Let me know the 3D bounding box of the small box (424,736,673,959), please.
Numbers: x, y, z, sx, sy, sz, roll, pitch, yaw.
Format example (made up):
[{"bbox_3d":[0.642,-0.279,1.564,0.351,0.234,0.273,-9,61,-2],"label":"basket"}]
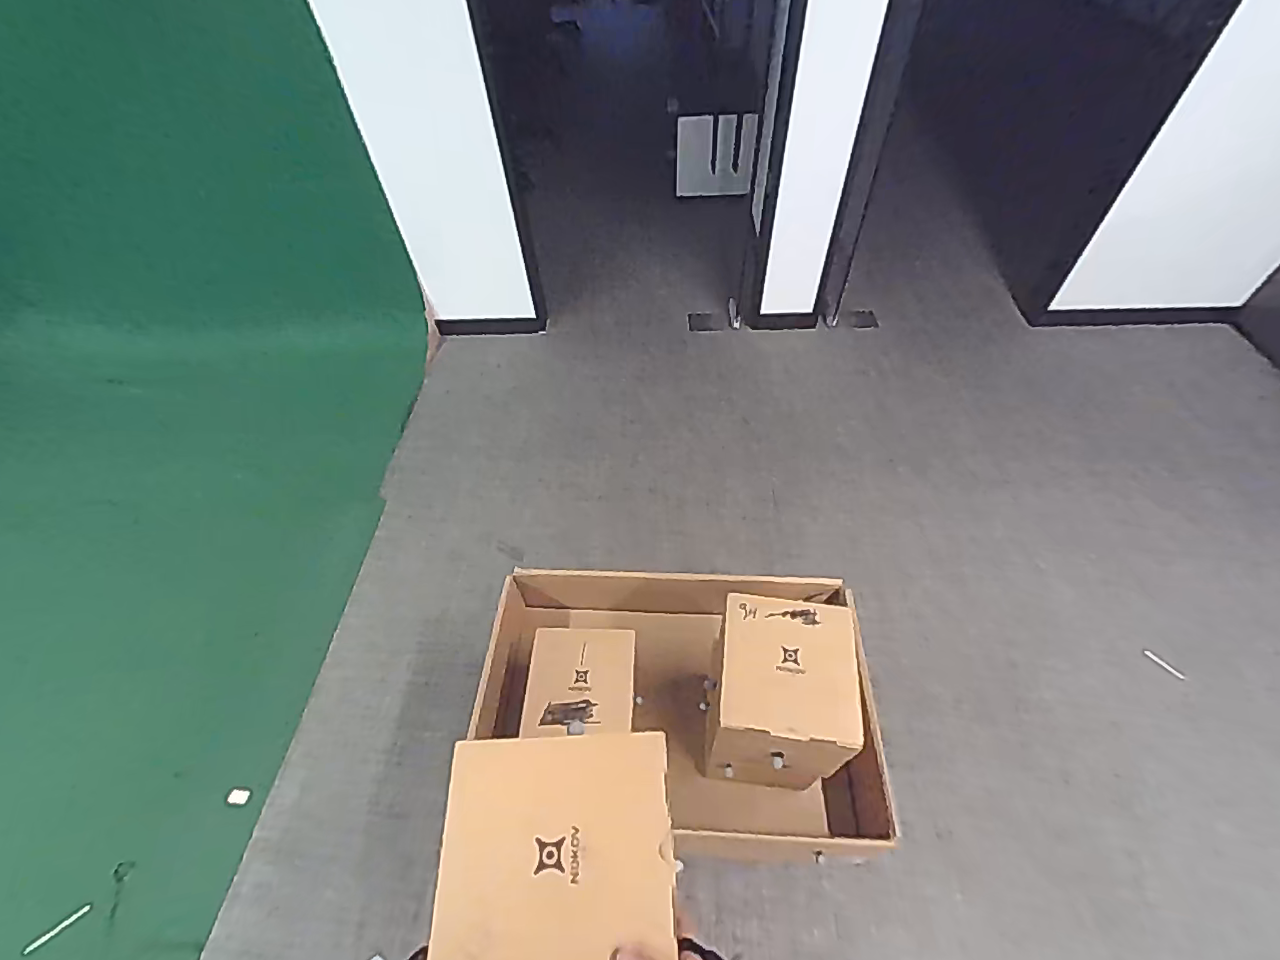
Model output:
[{"bbox_3d":[-0.063,0.330,0.472,0.179,0.176,0.168,-2,55,0],"label":"small box"}]

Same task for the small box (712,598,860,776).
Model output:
[{"bbox_3d":[0.189,0.285,0.734,0.168,0.176,0.179,6,53,8],"label":"small box"}]
